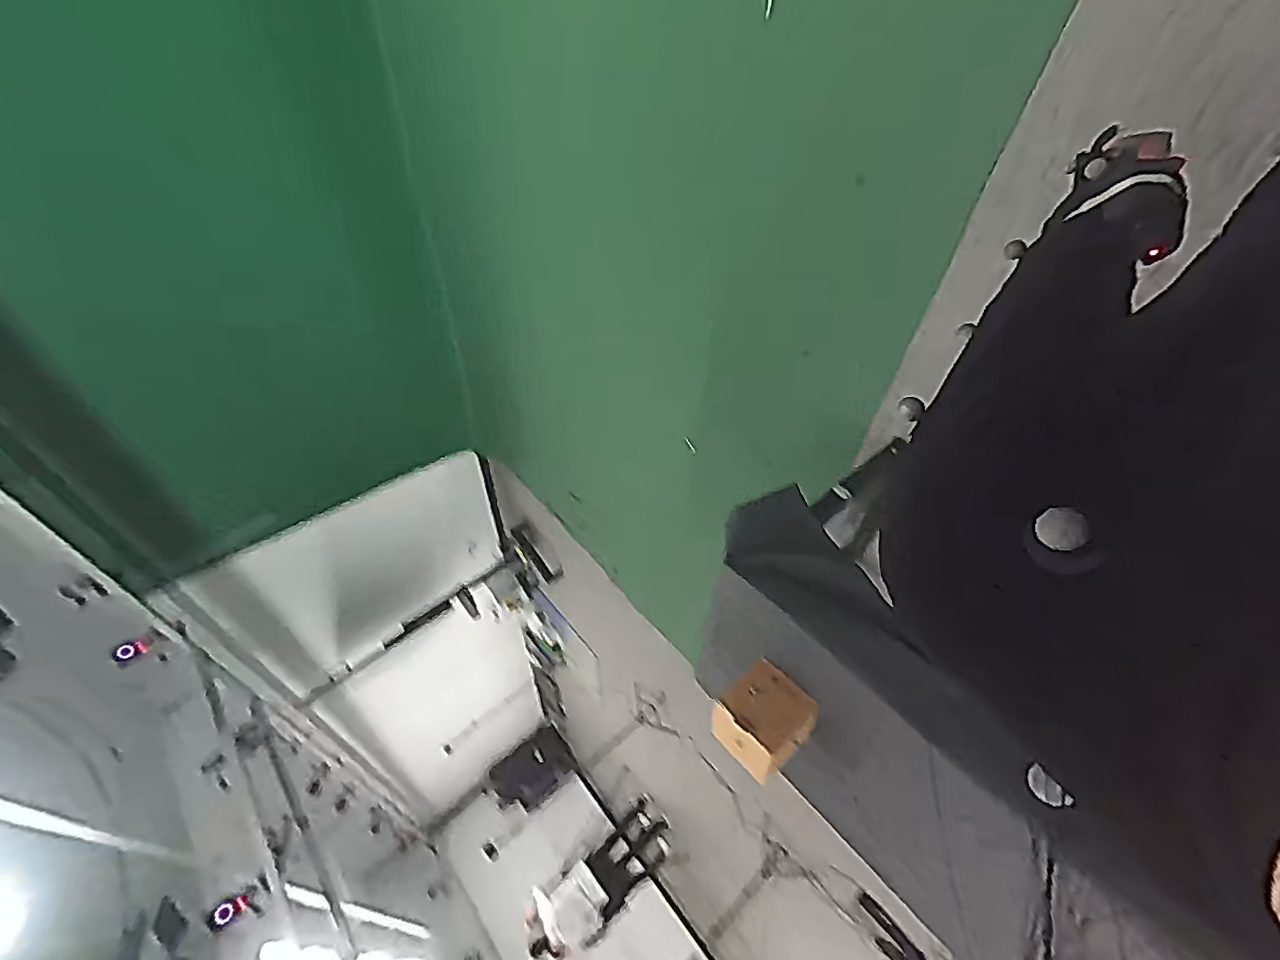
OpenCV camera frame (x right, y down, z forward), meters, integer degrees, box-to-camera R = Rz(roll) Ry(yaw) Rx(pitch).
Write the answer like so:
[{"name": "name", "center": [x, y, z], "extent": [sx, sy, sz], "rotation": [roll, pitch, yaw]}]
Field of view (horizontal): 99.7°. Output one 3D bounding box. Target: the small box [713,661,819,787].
[{"name": "small box", "center": [0.289, 0.556, 1.249], "extent": [0.168, 0.176, 0.179], "rotation": [37, 146, 37]}]
